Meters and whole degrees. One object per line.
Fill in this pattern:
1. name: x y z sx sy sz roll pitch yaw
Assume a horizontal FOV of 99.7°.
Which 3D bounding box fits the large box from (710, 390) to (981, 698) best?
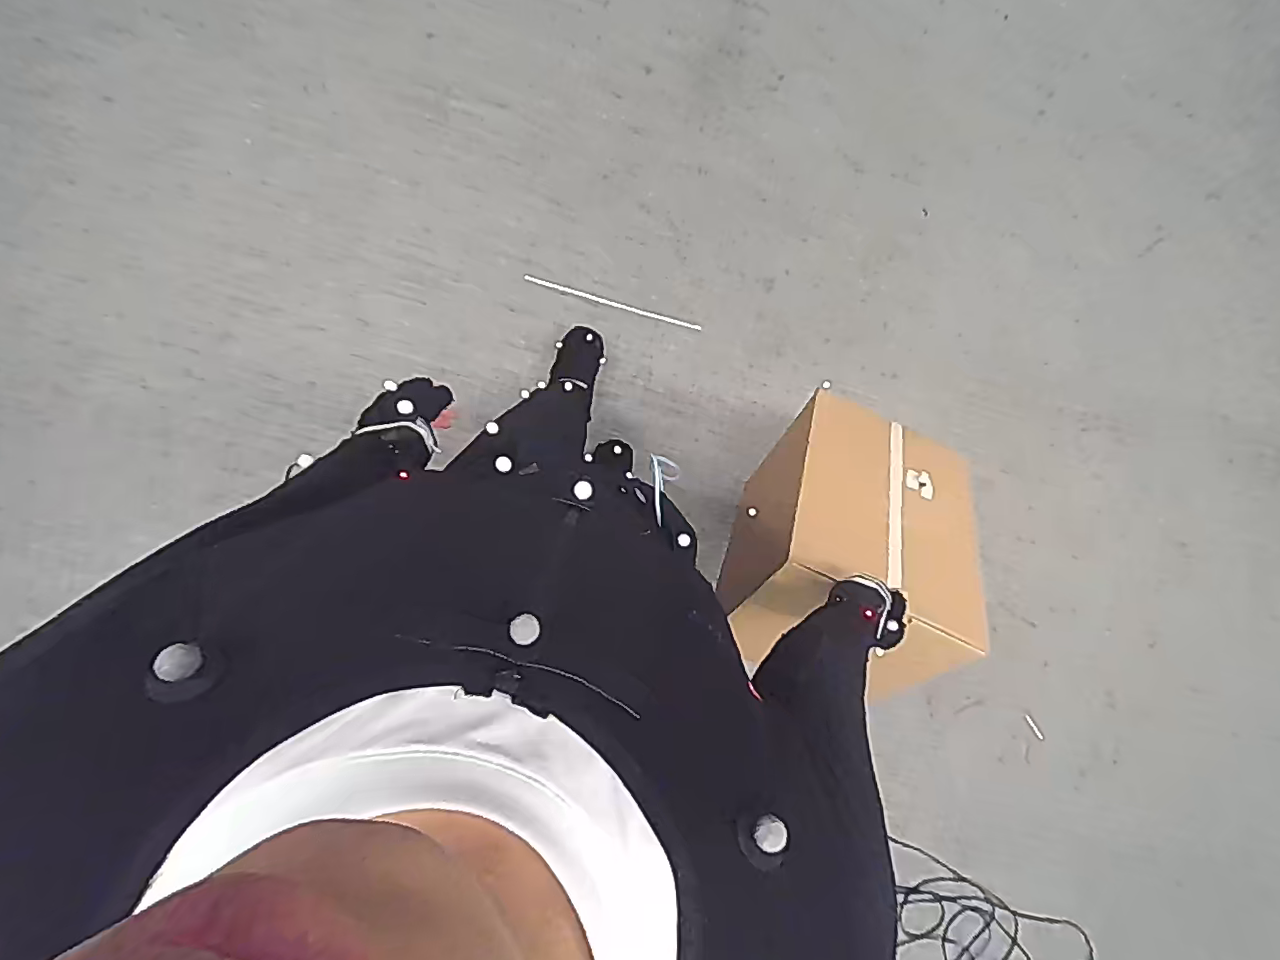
1. large box: 0.361 0.119 0.999 0.320 0.320 0.408 26 49 -1
